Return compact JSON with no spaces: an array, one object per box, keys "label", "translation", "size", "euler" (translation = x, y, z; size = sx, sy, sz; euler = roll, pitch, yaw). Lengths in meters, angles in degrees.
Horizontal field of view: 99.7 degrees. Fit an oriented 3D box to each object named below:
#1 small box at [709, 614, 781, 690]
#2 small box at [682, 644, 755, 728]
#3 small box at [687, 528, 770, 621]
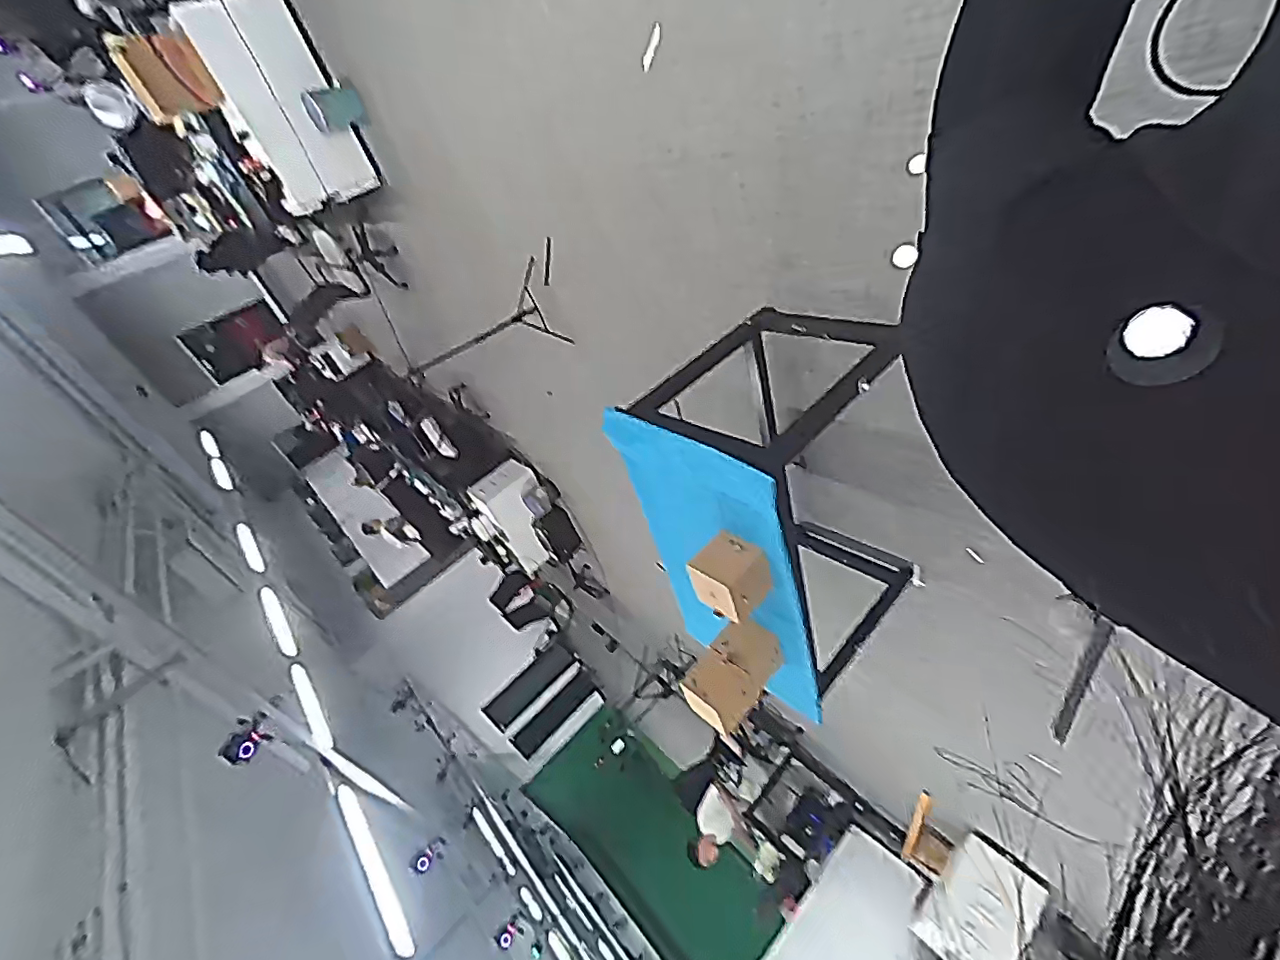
[{"label":"small box","translation":[0.375,0.604,1.913],"size":[0.179,0.176,0.168],"euler":[25,147,41]},{"label":"small box","translation":[0.264,0.702,1.835],"size":[0.168,0.176,0.179],"euler":[26,146,44]},{"label":"small box","translation":[0.271,0.278,1.620],"size":[0.168,0.176,0.179],"euler":[25,146,44]}]
